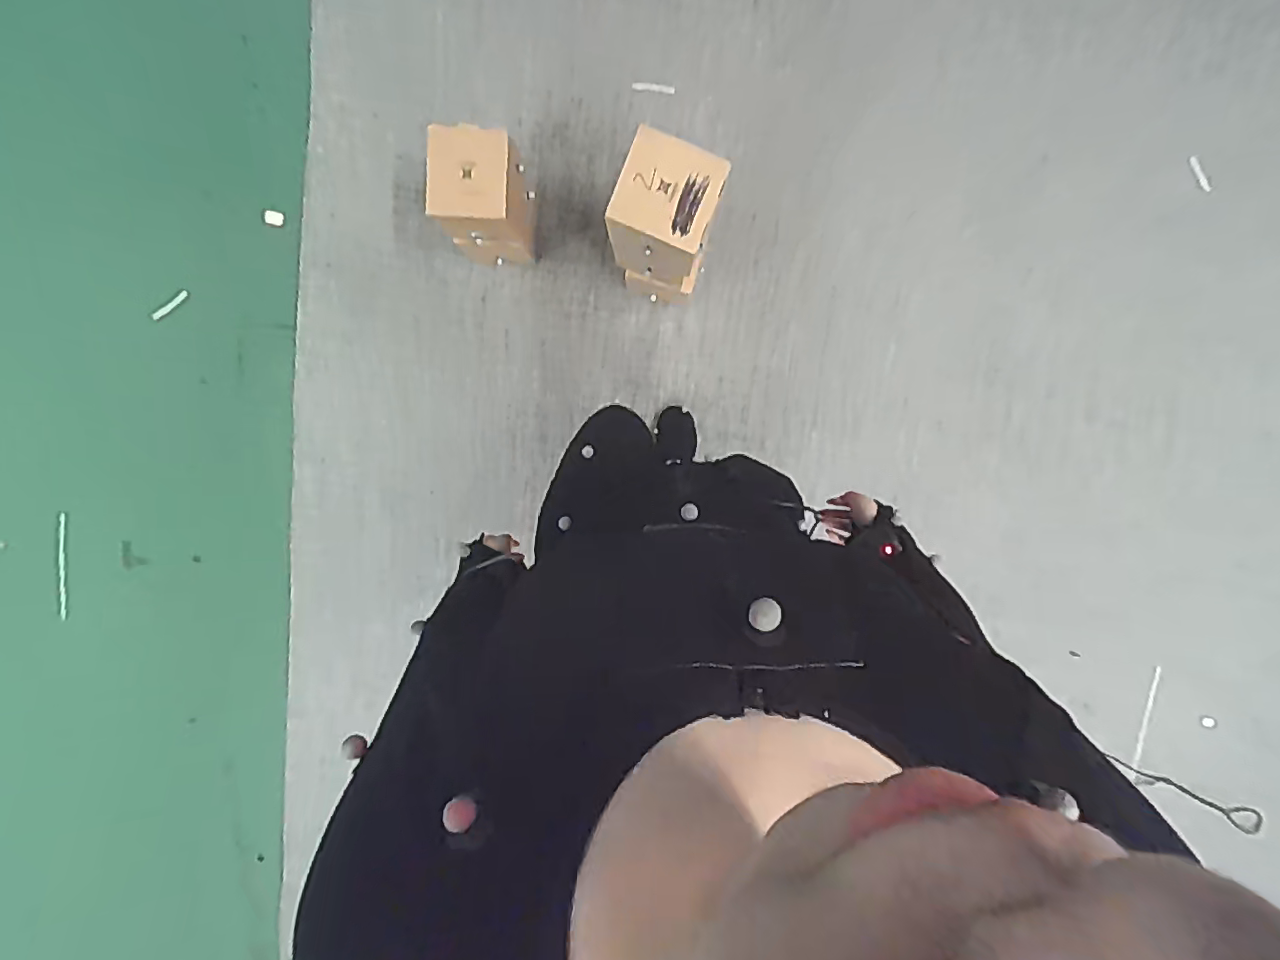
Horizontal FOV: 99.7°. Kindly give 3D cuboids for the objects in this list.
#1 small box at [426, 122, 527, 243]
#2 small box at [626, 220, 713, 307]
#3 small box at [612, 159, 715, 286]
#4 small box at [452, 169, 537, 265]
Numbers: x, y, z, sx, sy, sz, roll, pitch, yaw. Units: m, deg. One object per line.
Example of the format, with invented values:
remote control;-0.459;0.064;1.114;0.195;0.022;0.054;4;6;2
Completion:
small box;-0.344;-0.629;1.159;0.168;0.176;0.179;3;97;1
small box;0.067;-0.547;1.331;0.168;0.176;0.179;17;97;-1
small box;0.050;-0.542;1.168;0.168;0.176;0.179;21;97;-2
small box;-0.350;-0.644;1.321;0.168;0.176;0.179;3;97;0
